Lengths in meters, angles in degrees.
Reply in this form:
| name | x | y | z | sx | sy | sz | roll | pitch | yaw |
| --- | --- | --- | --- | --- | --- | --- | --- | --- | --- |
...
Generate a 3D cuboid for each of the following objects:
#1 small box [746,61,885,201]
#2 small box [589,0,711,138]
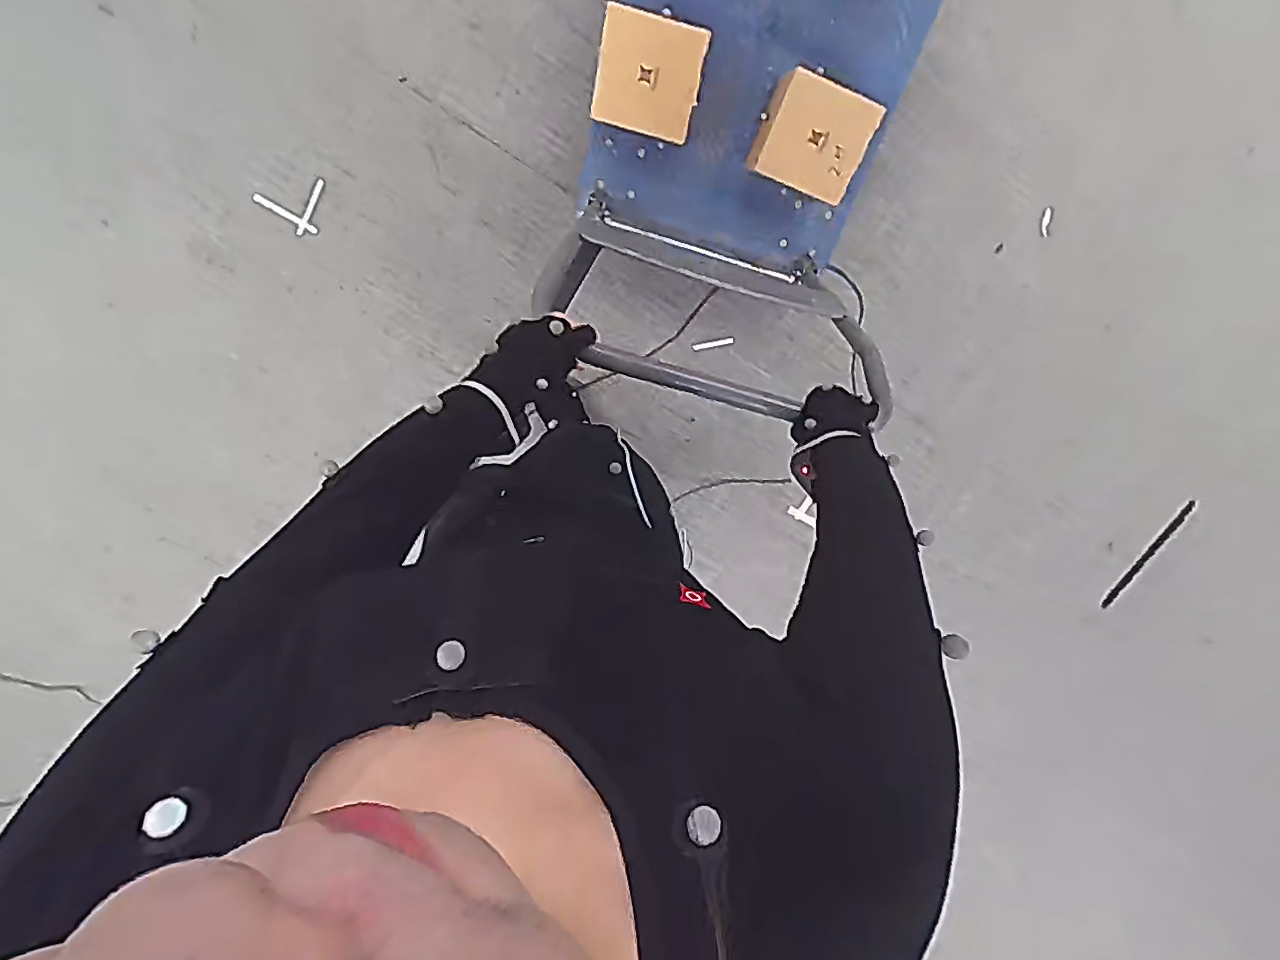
| name | x | y | z | sx | sy | sz | roll | pitch | yaw |
| --- | --- | --- | --- | --- | --- | --- | --- | --- | --- |
| small box | 0.318 | -0.651 | 1.023 | 0.179 | 0.176 | 0.168 | 19 | 121 | -9 |
| small box | 0.014 | -0.737 | 0.984 | 0.179 | 0.176 | 0.168 | 12 | 121 | -7 |
